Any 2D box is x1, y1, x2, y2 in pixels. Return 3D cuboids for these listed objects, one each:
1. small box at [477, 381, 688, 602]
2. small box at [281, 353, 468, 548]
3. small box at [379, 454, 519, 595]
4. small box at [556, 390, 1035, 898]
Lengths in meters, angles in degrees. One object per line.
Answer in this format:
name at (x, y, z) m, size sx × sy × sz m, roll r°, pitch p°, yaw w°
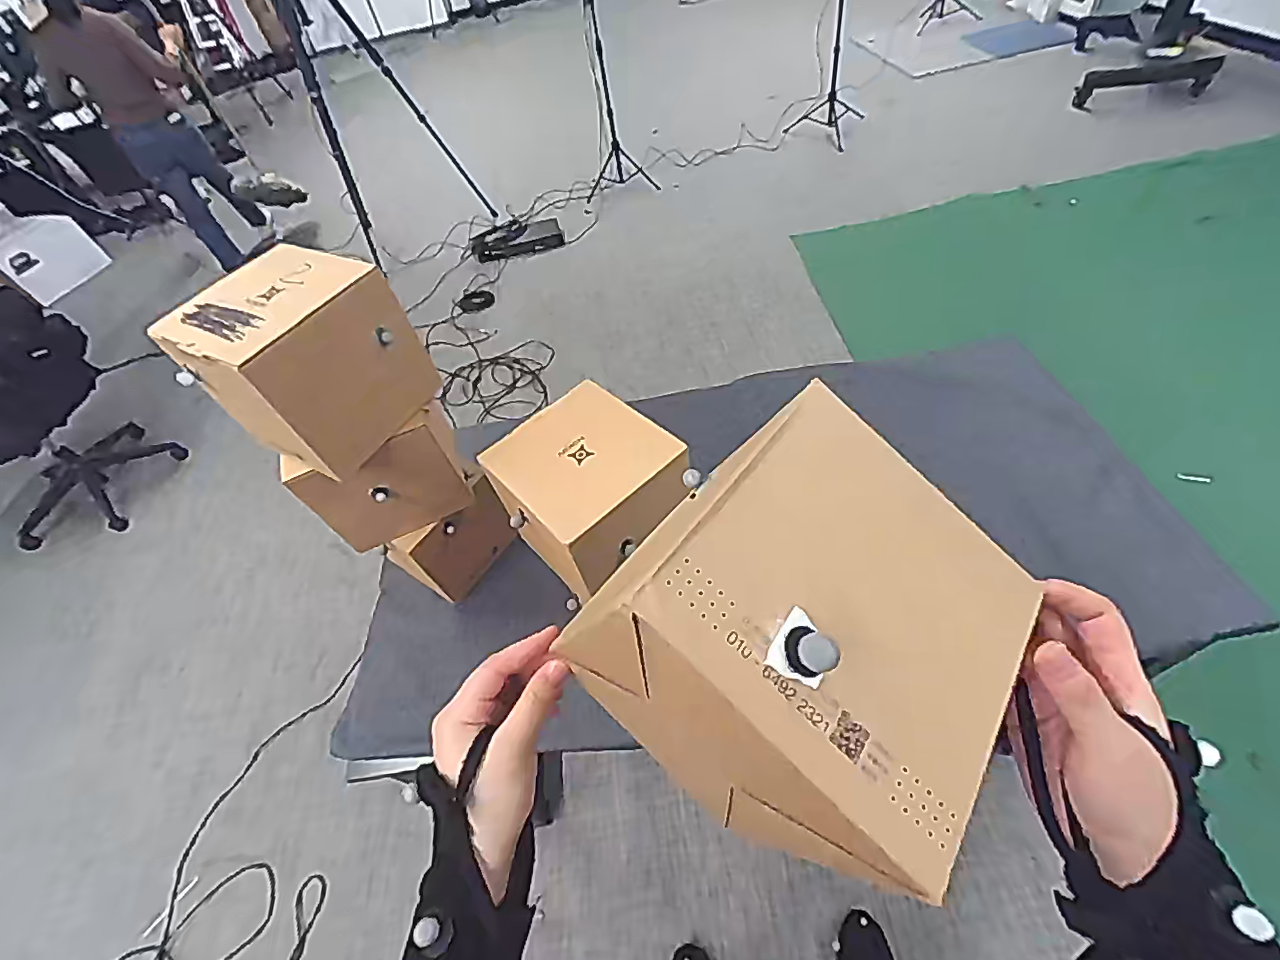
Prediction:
small box at (-0.054, 0.020, 0.643) m, size 0.168 × 0.176 × 0.179 m, roll -39°, pitch 54°, yaw -19°
small box at (-0.355, -0.037, 0.747) m, size 0.179 × 0.176 × 0.168 m, roll -25°, pitch 53°, yaw -8°
small box at (-0.330, 0.060, 0.878) m, size 0.179 × 0.176 × 0.168 m, roll 24°, pitch 60°, yaw 26°
small box at (0.070, 0.088, 0.316) m, size 0.168 × 0.179 × 0.176 m, roll 43°, pitch 61°, yaw 2°
